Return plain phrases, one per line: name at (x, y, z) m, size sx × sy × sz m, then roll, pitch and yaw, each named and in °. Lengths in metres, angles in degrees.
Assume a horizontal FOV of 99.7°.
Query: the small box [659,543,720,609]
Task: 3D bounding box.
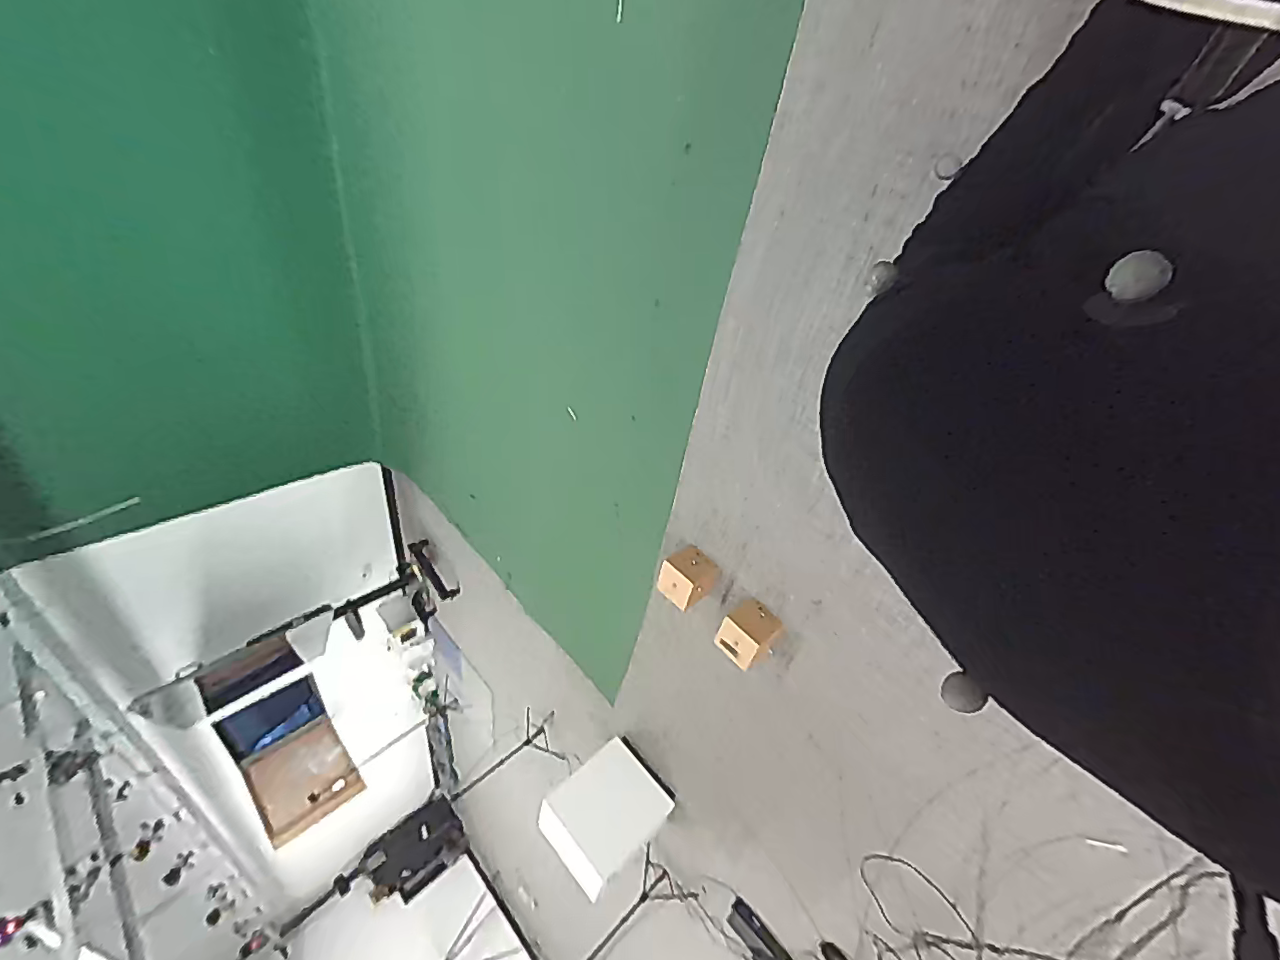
small box at (0.209, 0.394, 2.251) m, size 0.168 × 0.176 × 0.179 m, roll 39°, pitch 134°, yaw 30°
